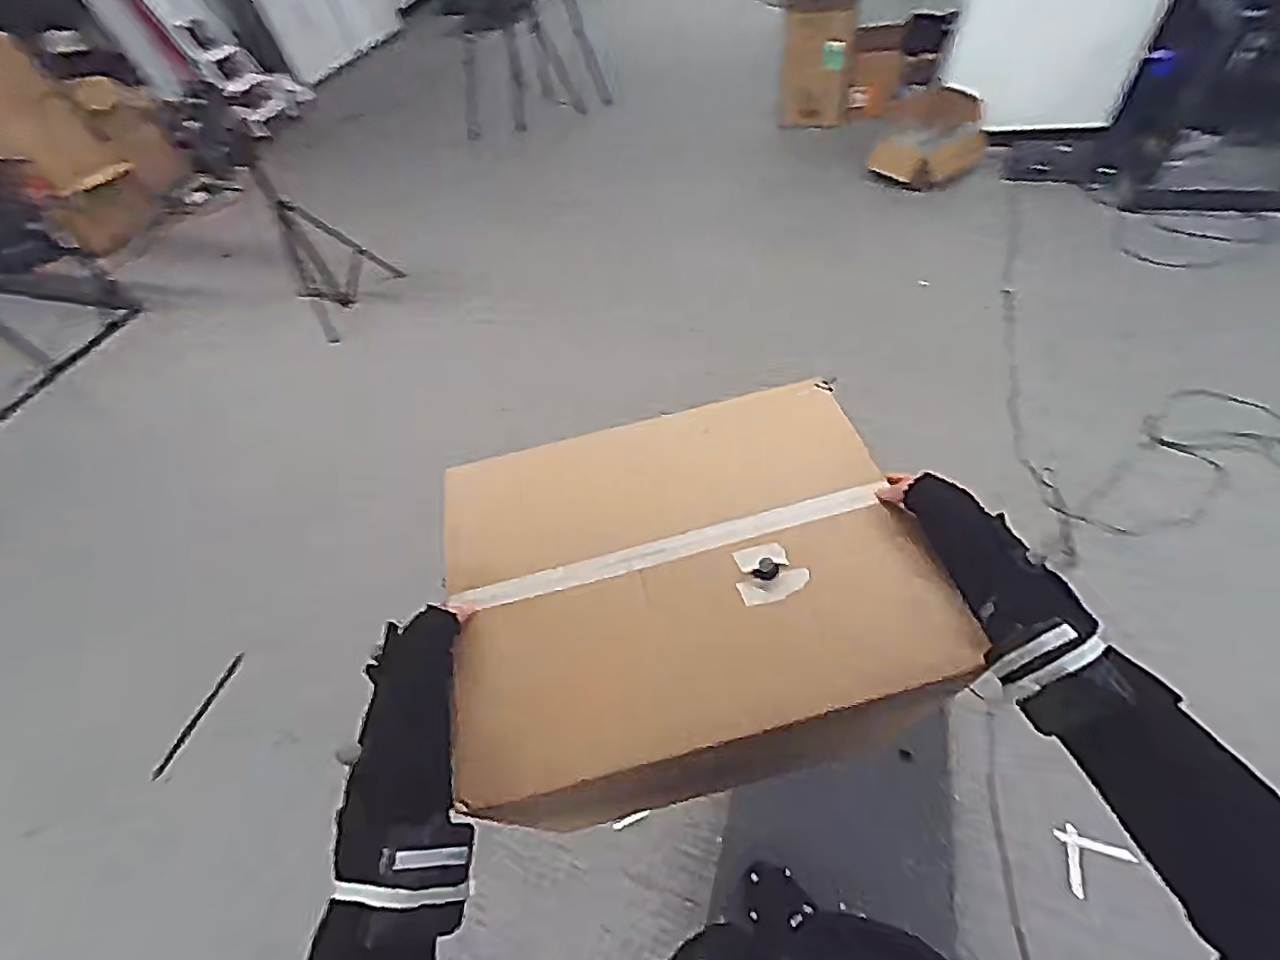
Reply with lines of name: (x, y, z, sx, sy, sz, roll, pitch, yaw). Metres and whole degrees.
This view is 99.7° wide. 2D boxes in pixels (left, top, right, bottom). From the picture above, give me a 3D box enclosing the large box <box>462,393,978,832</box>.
large box: (0.052, 0.157, 0.609, 0.408, 0.320, 0.320, -14, 54, -3)
